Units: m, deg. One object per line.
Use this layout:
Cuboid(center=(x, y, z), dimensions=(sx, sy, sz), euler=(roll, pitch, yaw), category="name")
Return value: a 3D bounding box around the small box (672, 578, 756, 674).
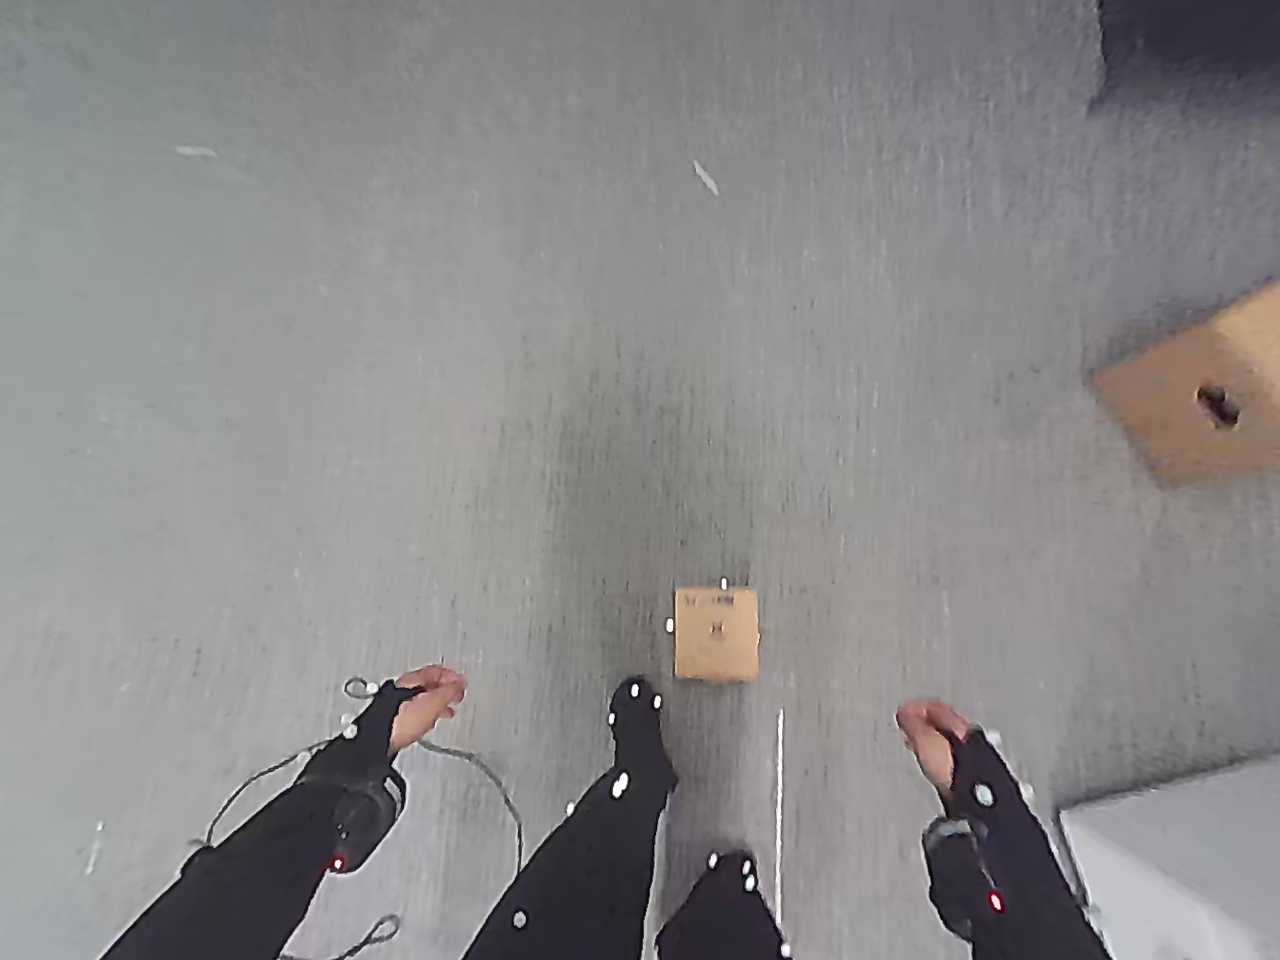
Cuboid(center=(0.154, 0.305, 1.160), dimensions=(0.168, 0.176, 0.179), euler=(1, 82, 3), category="small box")
